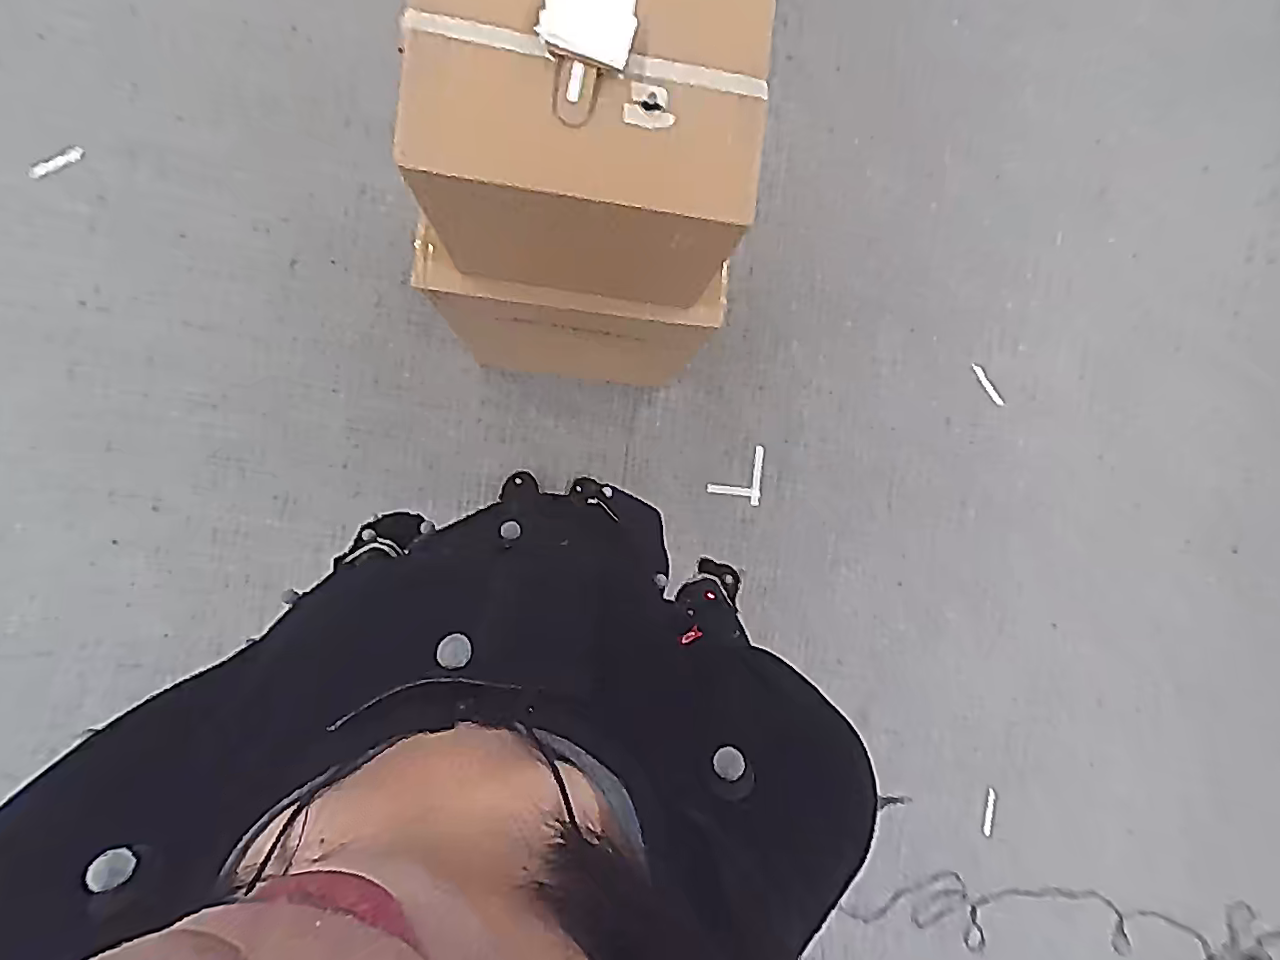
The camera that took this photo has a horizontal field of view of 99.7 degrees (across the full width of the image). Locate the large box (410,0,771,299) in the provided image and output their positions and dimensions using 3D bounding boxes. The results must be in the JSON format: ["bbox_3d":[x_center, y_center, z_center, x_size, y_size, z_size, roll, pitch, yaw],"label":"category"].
[{"bbox_3d":[-0.069,-0.480,0.772,0.408,0.320,0.320,6,90,-8],"label":"large box"}]
